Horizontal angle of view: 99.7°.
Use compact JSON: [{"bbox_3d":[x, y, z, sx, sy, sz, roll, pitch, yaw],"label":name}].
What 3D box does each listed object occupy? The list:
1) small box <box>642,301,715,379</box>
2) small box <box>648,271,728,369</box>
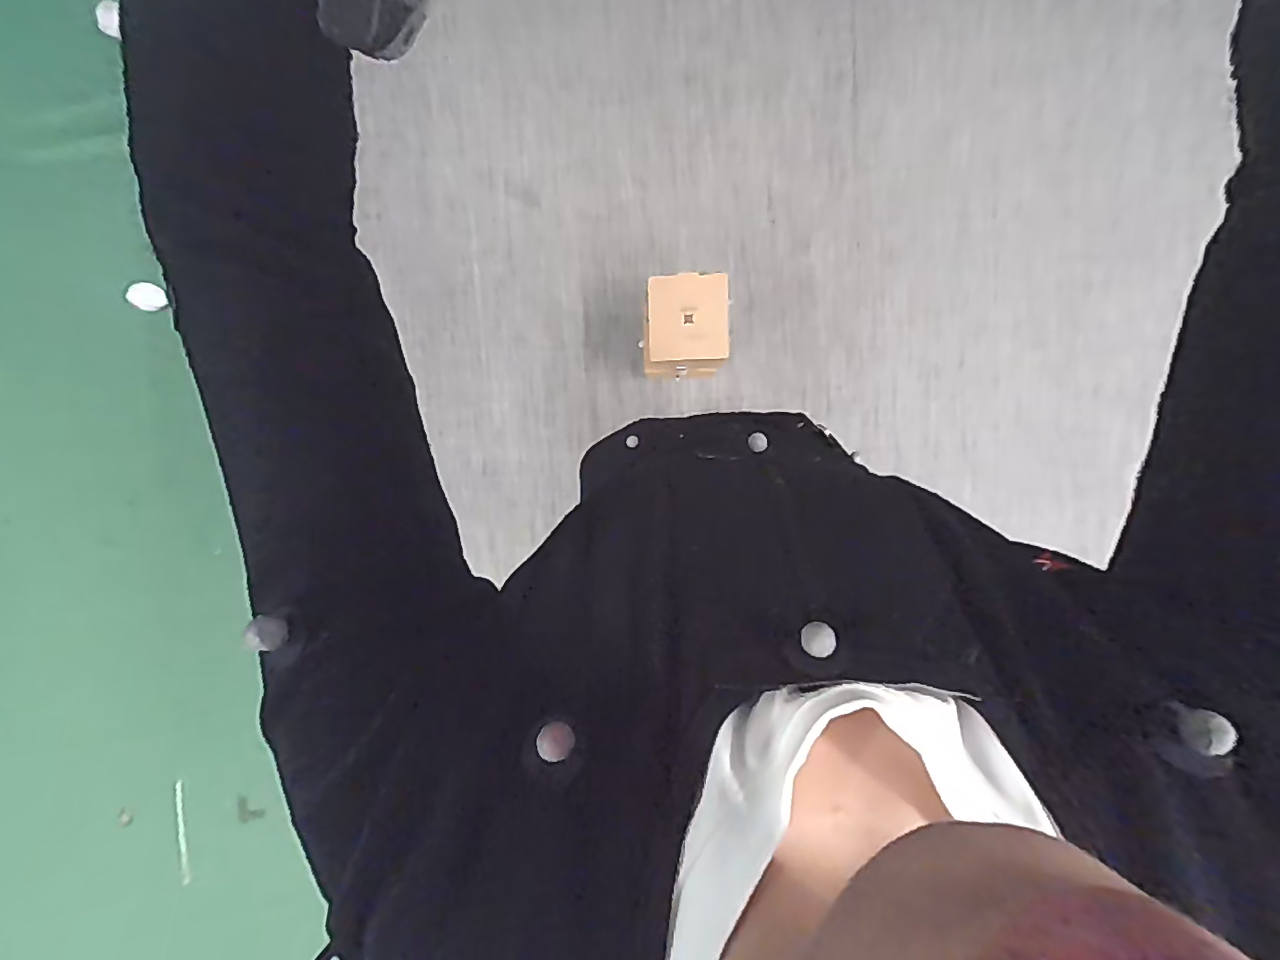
[{"bbox_3d":[0.095,-0.348,1.358,0.179,0.176,0.168,-1,94,4],"label":"small box"},{"bbox_3d":[0.103,-0.346,1.196,0.168,0.176,0.179,-2,94,4],"label":"small box"}]
